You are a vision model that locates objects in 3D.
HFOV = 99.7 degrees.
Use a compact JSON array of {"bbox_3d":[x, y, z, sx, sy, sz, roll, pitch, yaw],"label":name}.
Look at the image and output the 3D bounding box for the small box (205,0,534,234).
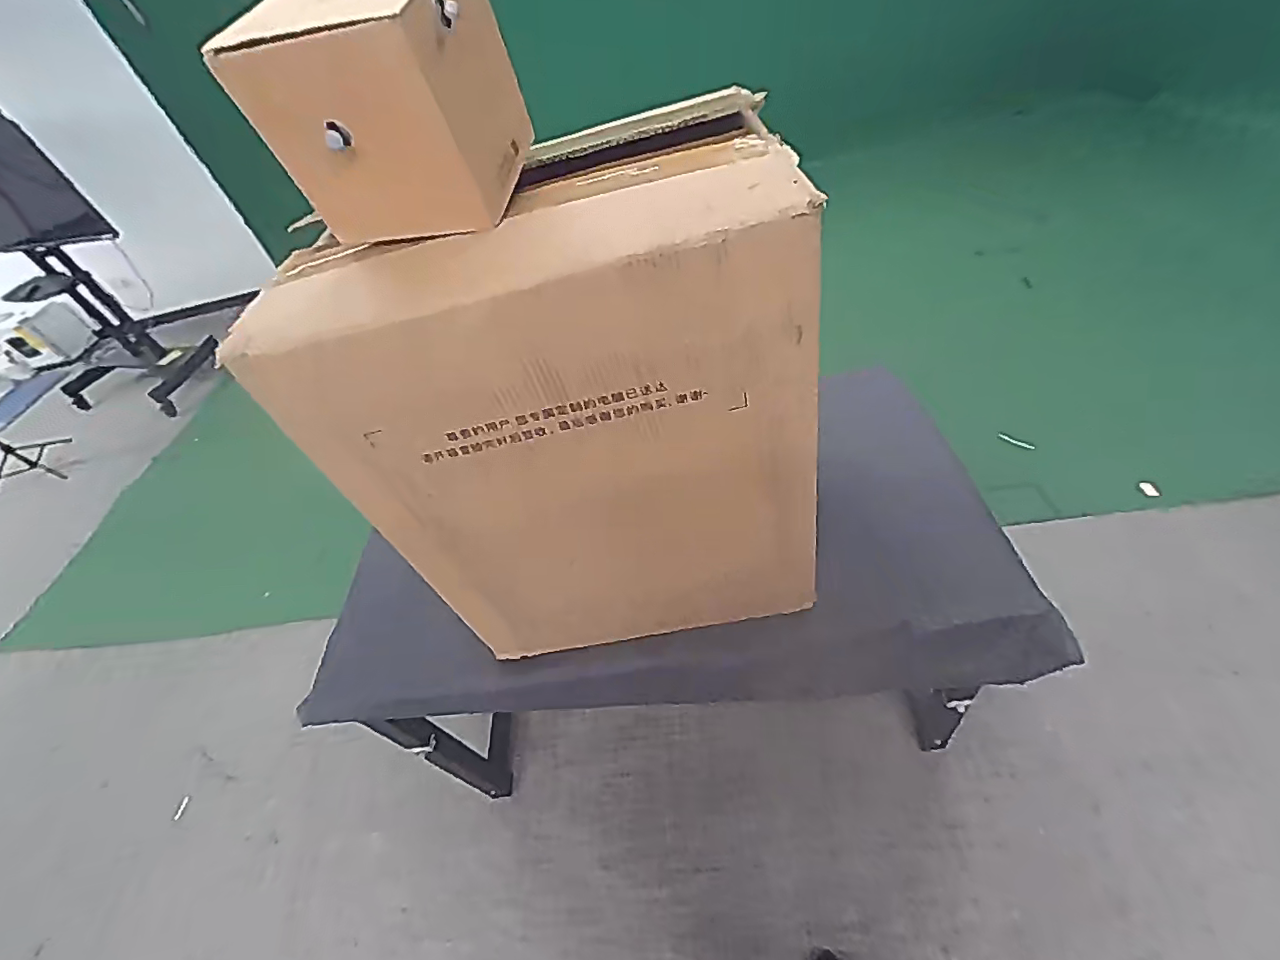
[{"bbox_3d":[-0.223,-0.350,0.498,0.179,0.176,0.168,1,60,14],"label":"small box"}]
